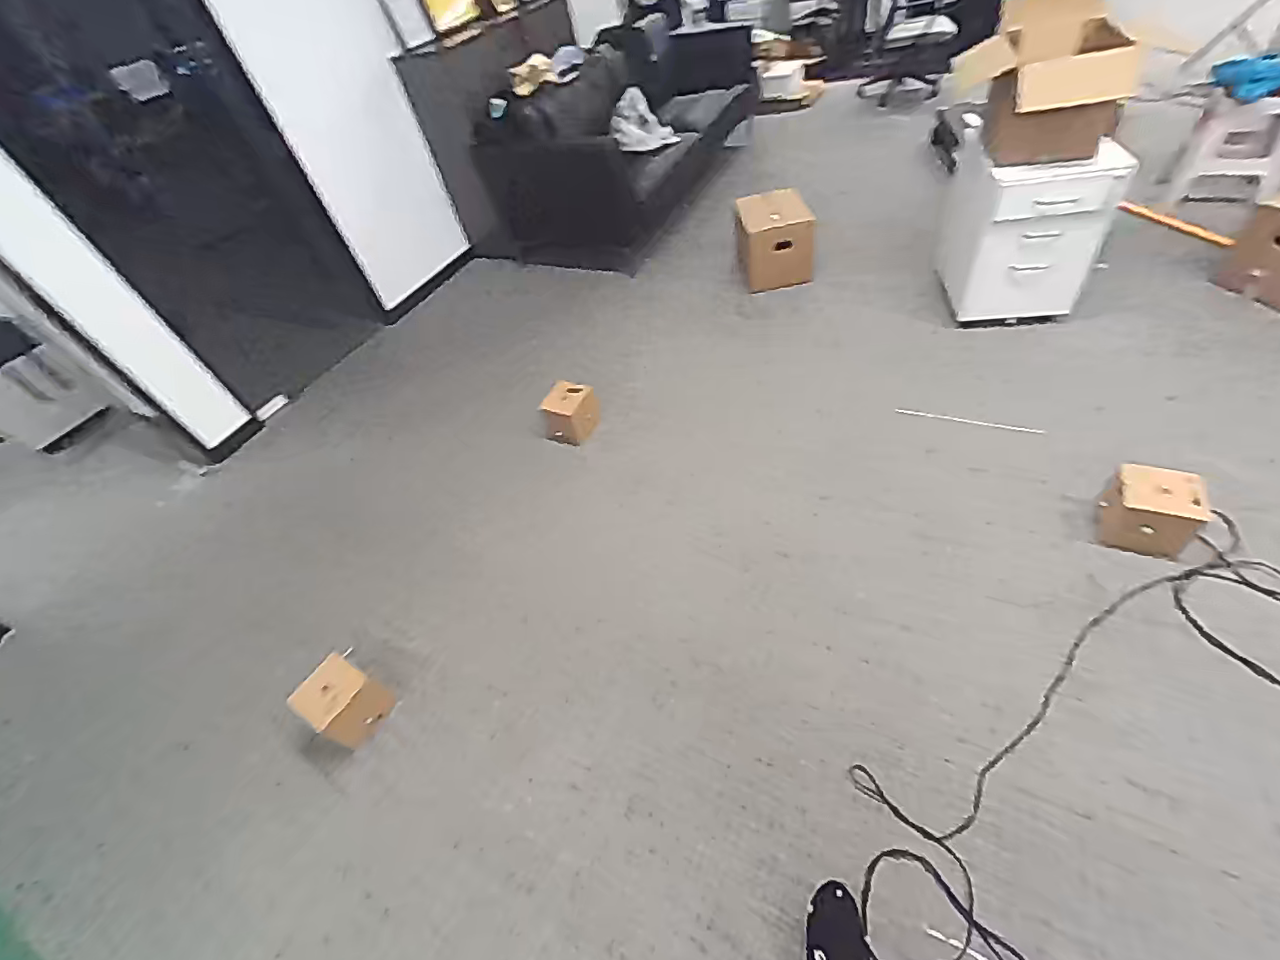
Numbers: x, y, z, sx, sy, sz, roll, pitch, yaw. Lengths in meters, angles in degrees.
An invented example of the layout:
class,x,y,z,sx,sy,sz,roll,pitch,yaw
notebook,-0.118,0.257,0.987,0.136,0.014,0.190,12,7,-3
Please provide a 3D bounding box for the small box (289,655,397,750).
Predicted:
class,x,y,z,sx,sy,sz,roll,pitch,yaw
small box,-0.845,0.641,1.549,0.179,0.176,0.168,20,56,28

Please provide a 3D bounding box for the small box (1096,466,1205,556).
class,x,y,z,sx,sy,sz,roll,pitch,yaw
small box,1.396,0.087,1.496,0.179,0.176,0.168,12,52,24

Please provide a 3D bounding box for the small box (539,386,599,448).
class,x,y,z,sx,sy,sz,roll,pitch,yaw
small box,-0.287,-0.261,2.249,0.168,0.176,0.179,15,54,26
